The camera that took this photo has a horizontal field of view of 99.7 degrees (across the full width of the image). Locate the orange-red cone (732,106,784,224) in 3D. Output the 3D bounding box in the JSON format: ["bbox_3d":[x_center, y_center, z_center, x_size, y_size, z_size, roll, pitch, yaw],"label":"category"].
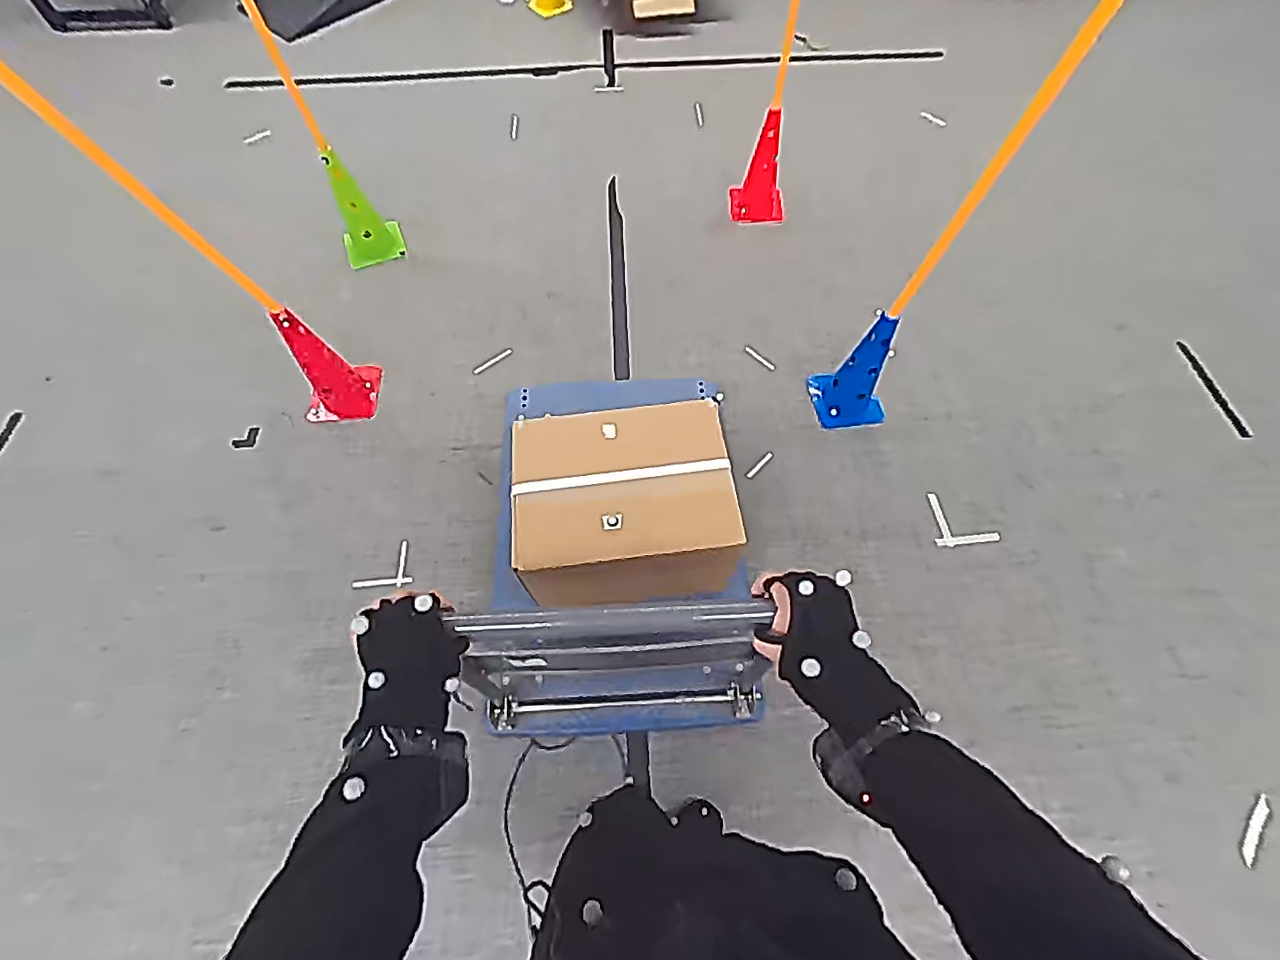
[{"bbox_3d":[0.453,-1.132,1.923,0.199,0.360,0.198,3,64,1],"label":"orange-red cone"}]

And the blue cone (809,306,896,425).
[{"bbox_3d":[0.634,-0.332,1.527,0.193,0.380,0.192,-7,62,-3],"label":"blue cone"}]
